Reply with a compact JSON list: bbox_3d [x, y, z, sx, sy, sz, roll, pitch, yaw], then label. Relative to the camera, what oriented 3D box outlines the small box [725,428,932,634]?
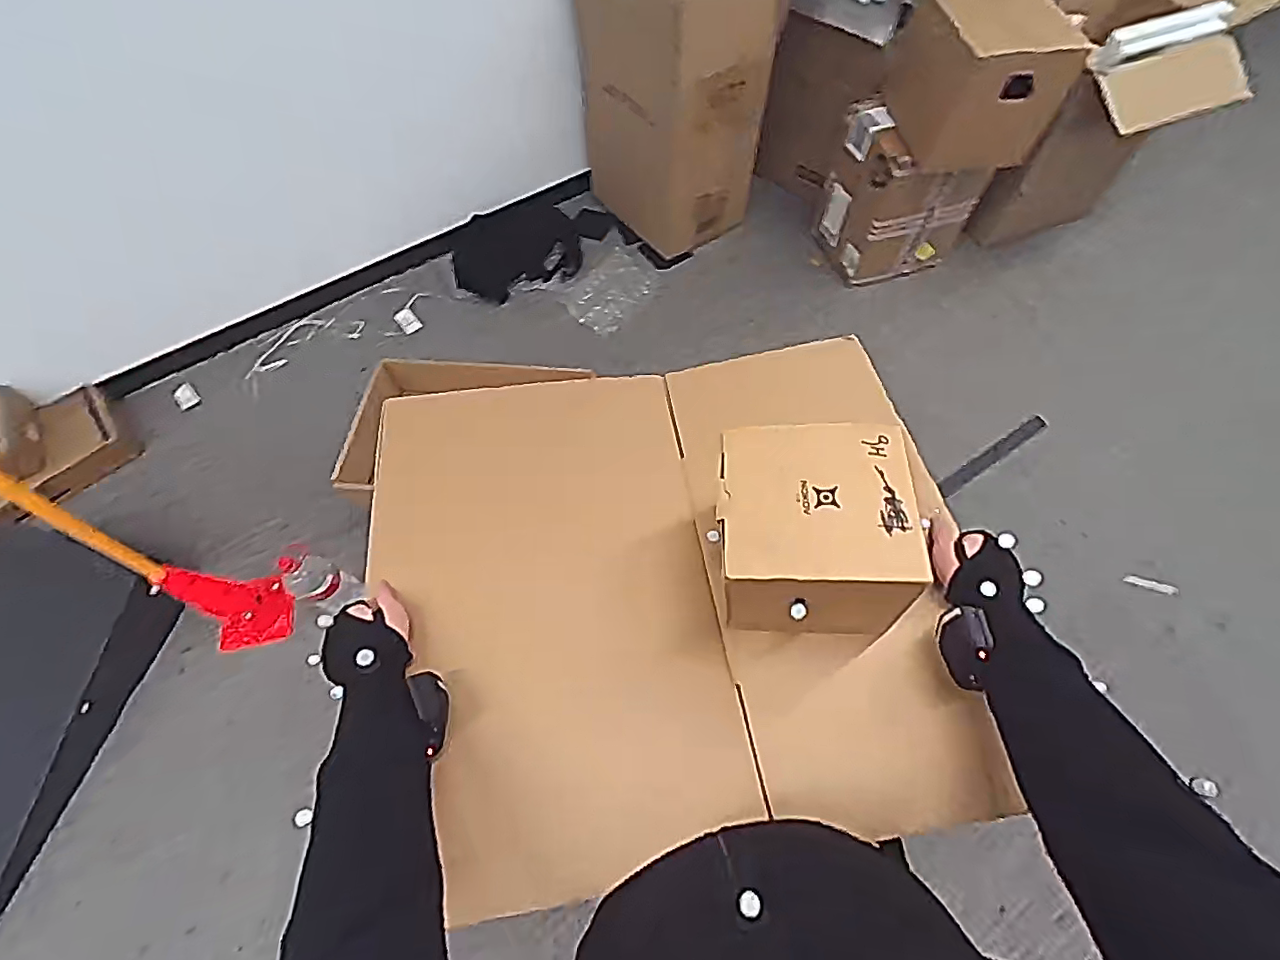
[{"bbox_3d":[0.184,0.061,0.579,0.179,0.176,0.168,-1,60,10],"label":"small box"}]
